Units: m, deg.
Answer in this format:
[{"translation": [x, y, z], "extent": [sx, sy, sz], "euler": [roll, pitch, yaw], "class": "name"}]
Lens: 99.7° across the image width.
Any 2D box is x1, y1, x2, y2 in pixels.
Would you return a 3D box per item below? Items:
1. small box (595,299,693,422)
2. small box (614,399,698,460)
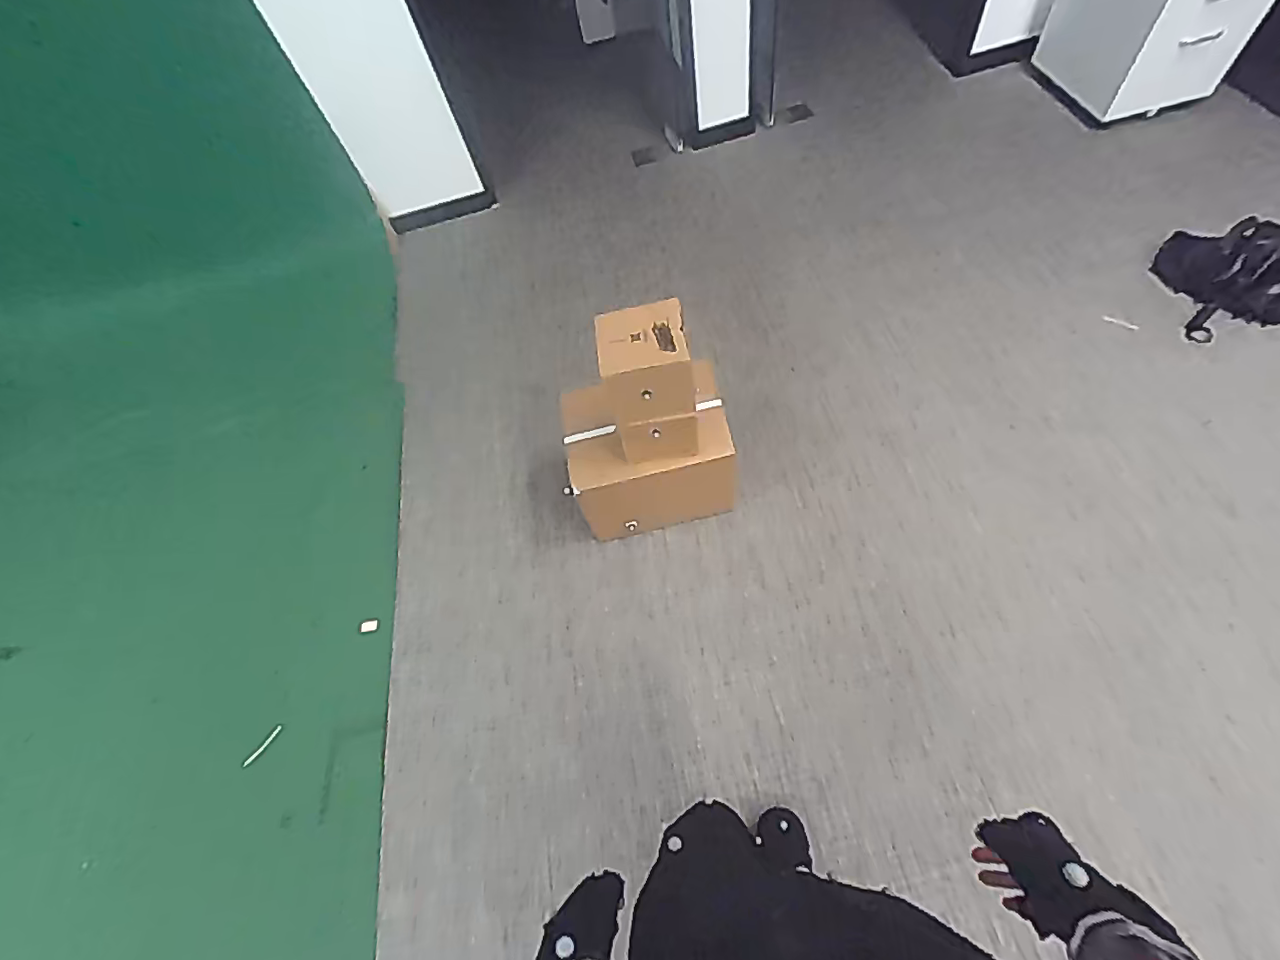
[{"translation": [0.014, -0.240, 1.121], "extent": [0.179, 0.176, 0.168], "euler": [-10, 62, 7], "class": "small box"}, {"translation": [0.037, -0.161, 1.262], "extent": [0.179, 0.176, 0.168], "euler": [-7, 62, 4], "class": "small box"}]
